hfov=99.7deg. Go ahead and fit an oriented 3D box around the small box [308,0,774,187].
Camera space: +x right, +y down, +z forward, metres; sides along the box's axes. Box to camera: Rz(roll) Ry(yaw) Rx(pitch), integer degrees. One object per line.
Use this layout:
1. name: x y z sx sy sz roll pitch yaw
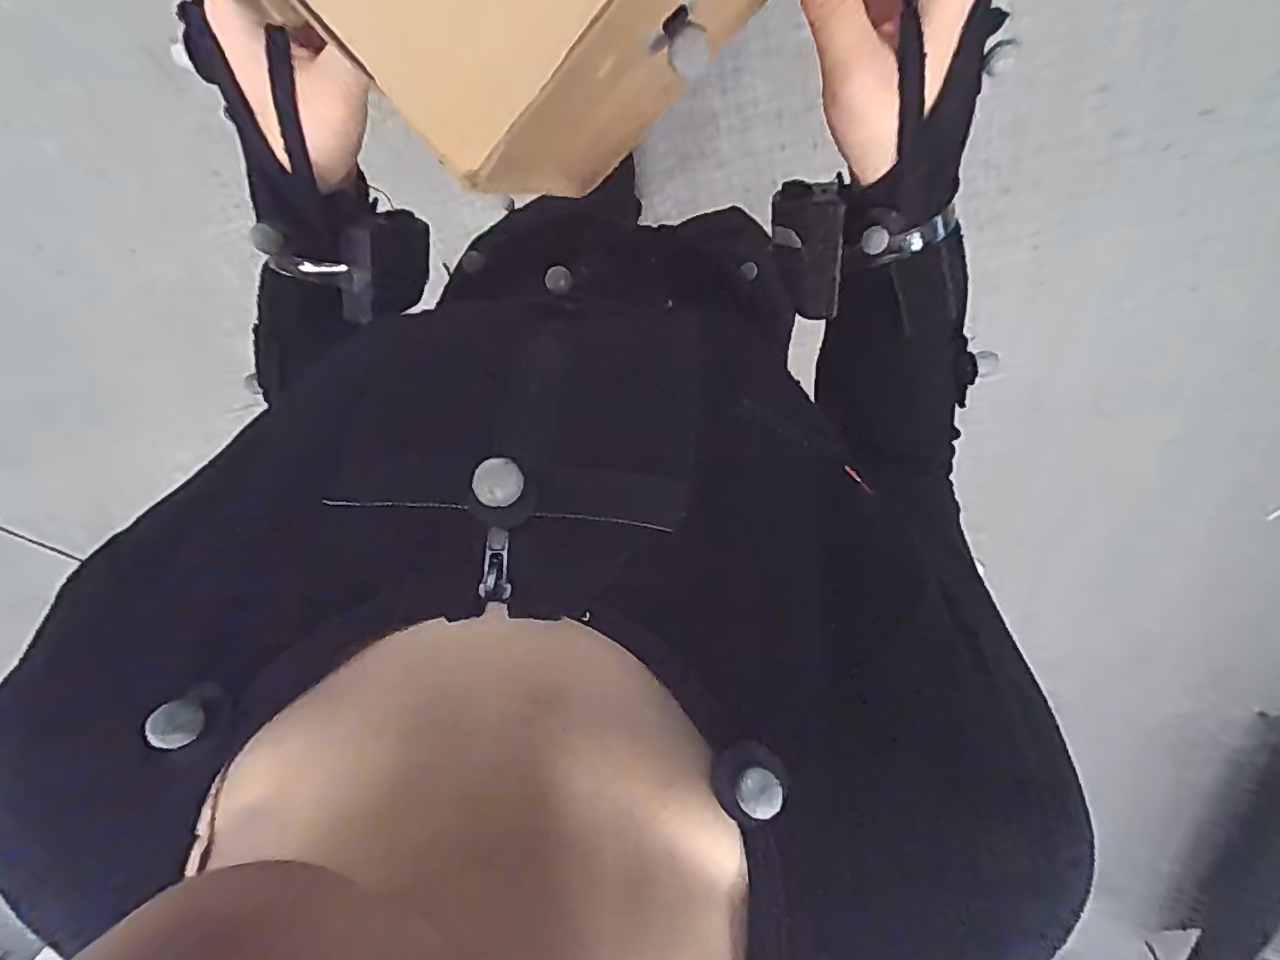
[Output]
1. small box: -0.027 -0.225 0.178 0.179 0.176 0.168 -38 107 22
